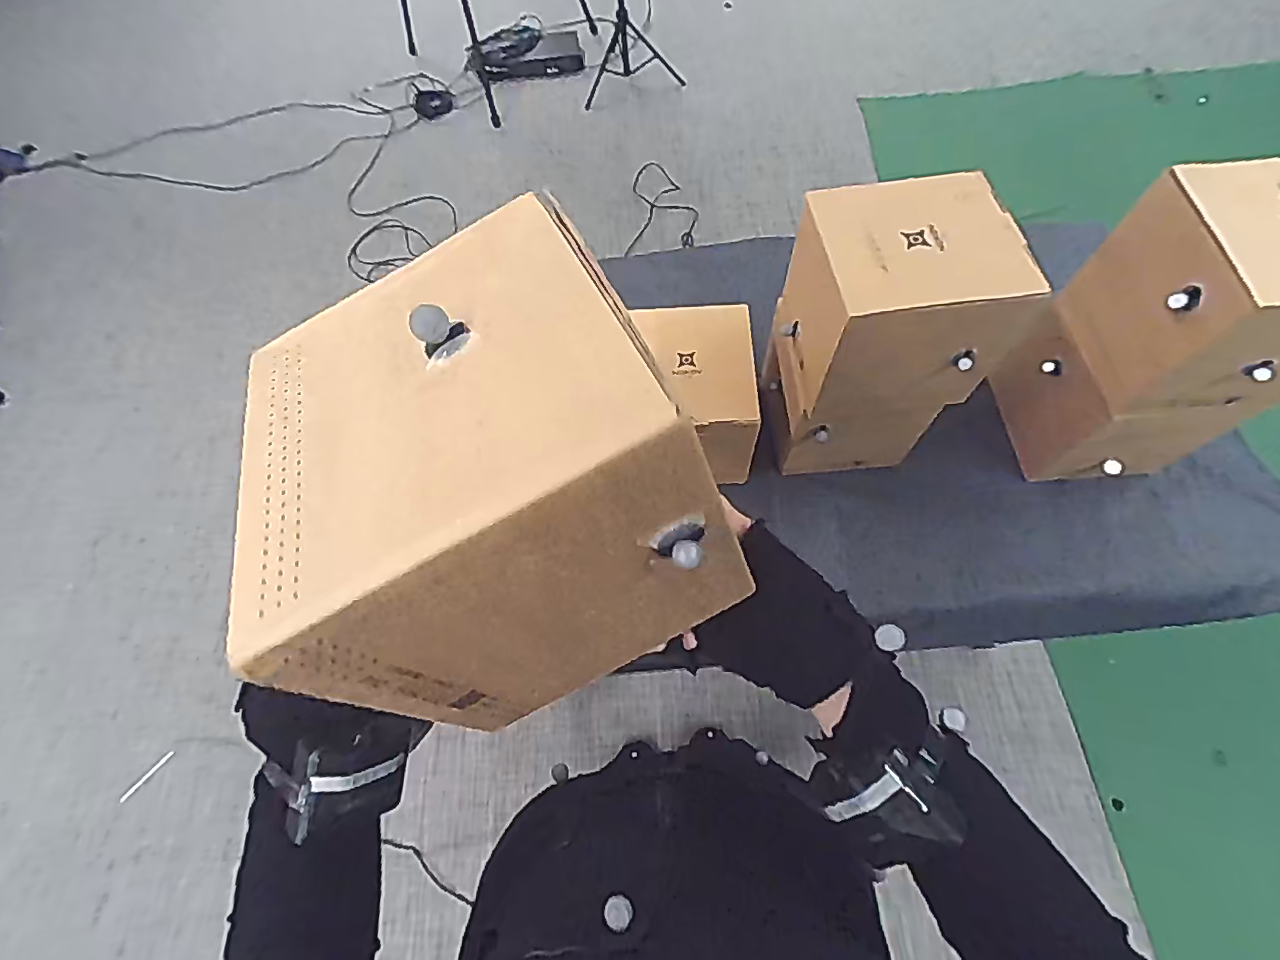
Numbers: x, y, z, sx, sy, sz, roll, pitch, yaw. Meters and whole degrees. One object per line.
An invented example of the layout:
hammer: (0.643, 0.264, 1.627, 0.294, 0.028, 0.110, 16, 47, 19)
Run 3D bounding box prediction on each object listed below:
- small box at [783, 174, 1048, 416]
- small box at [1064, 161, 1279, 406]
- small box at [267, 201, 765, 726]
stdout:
small box: (0.264, -0.185, 0.571, 0.179, 0.176, 0.168, -6, 63, 2)
small box: (0.585, -0.185, 0.544, 0.168, 0.176, 0.179, -2, 64, 4)
small box: (-0.060, -0.004, 0.288, 0.176, 0.168, 0.179, -31, 52, 2)
